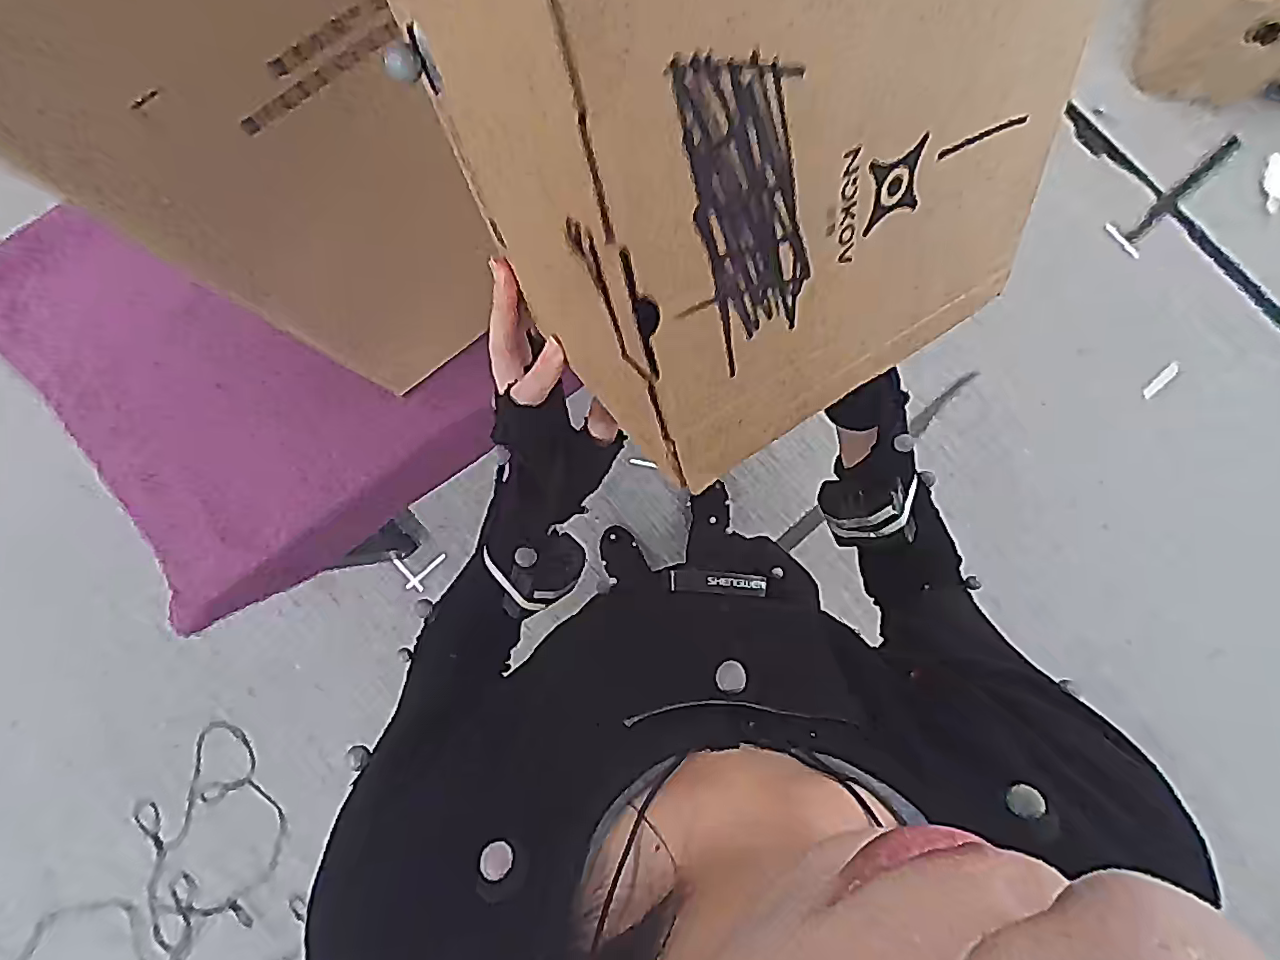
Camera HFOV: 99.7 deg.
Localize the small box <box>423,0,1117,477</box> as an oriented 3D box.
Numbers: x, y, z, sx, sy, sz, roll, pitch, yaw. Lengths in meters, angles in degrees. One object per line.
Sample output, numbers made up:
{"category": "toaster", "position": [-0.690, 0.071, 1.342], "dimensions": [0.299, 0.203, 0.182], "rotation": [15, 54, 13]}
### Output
{"category": "small box", "position": [0.035, -0.140, 0.213], "dimensions": [0.179, 0.168, 0.176], "rotation": [-31, 51, -9]}
